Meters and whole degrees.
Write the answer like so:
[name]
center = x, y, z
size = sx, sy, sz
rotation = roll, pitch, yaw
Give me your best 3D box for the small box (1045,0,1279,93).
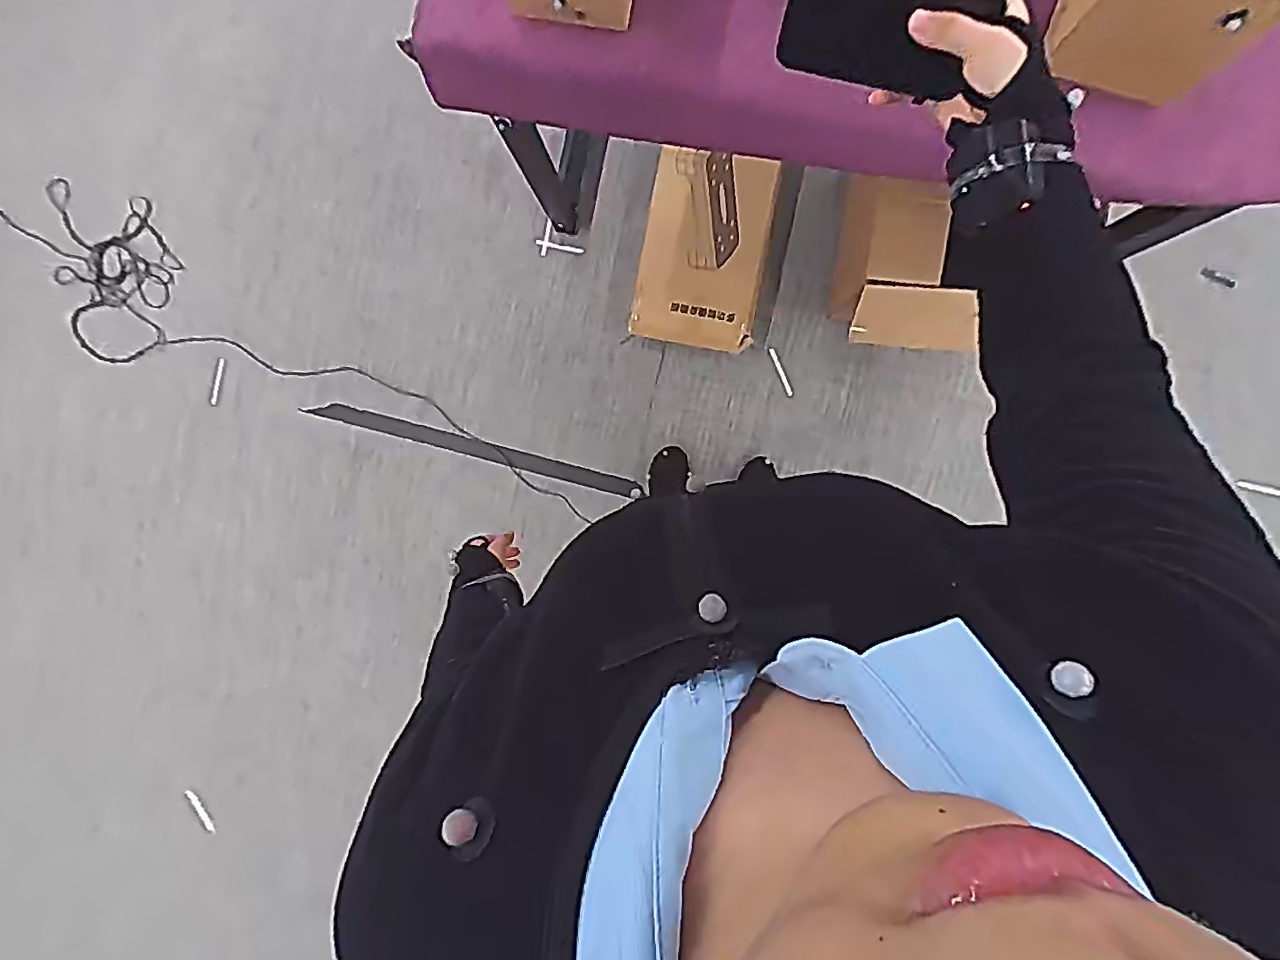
[small box]
center = 0.614, -0.583, 0.608
size = 0.179, 0.176, 0.168
rotation = 19, 94, 3
